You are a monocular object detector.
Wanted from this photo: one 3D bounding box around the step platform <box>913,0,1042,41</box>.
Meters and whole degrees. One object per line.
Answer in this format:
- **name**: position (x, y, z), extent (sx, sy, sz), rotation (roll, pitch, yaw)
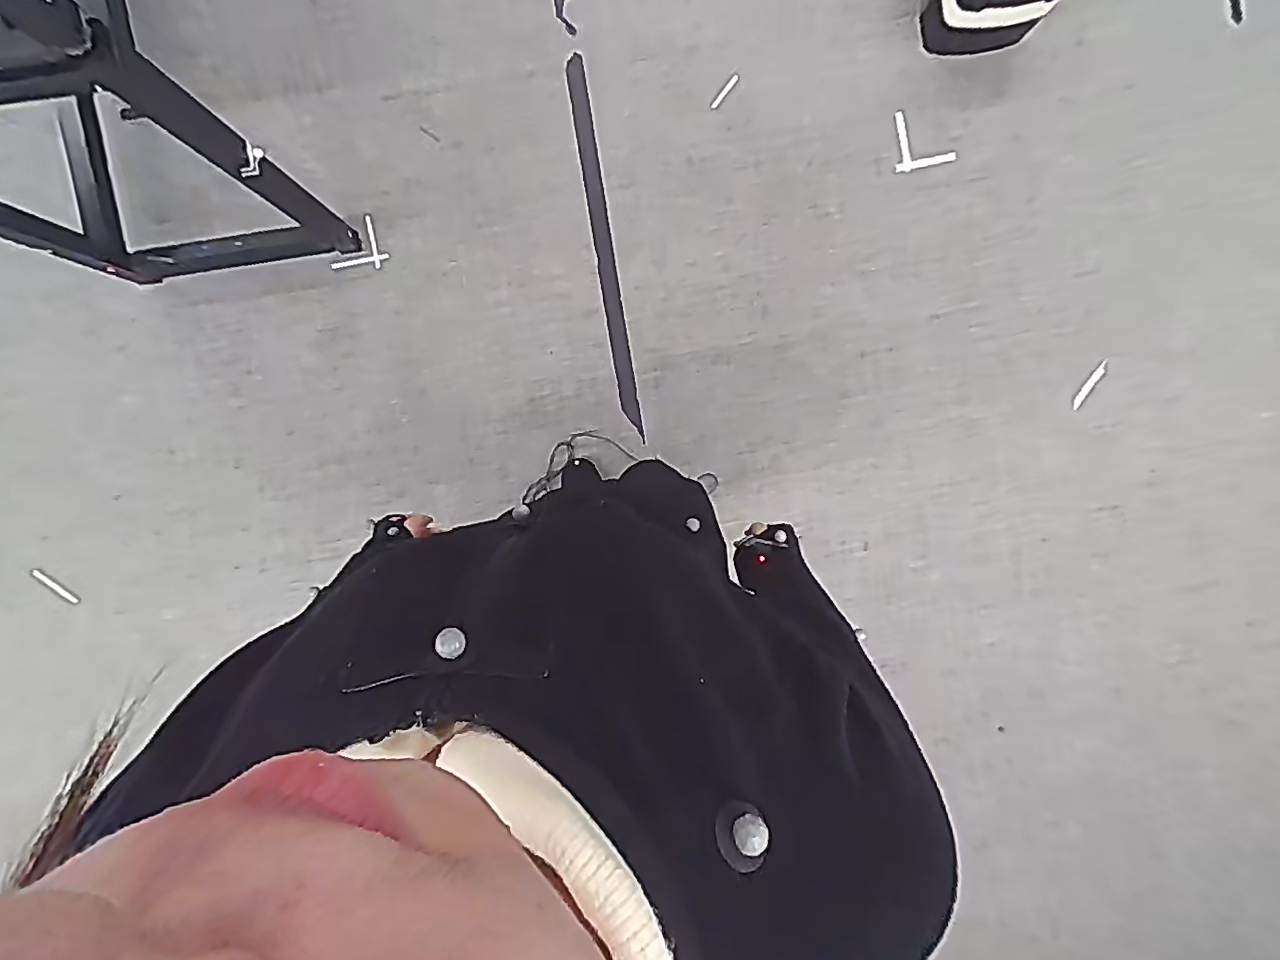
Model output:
- **step platform**: position (0.859, -1.516, 1.344), extent (0.286, 0.204, 0.684), rotation (-4, 93, -2)
